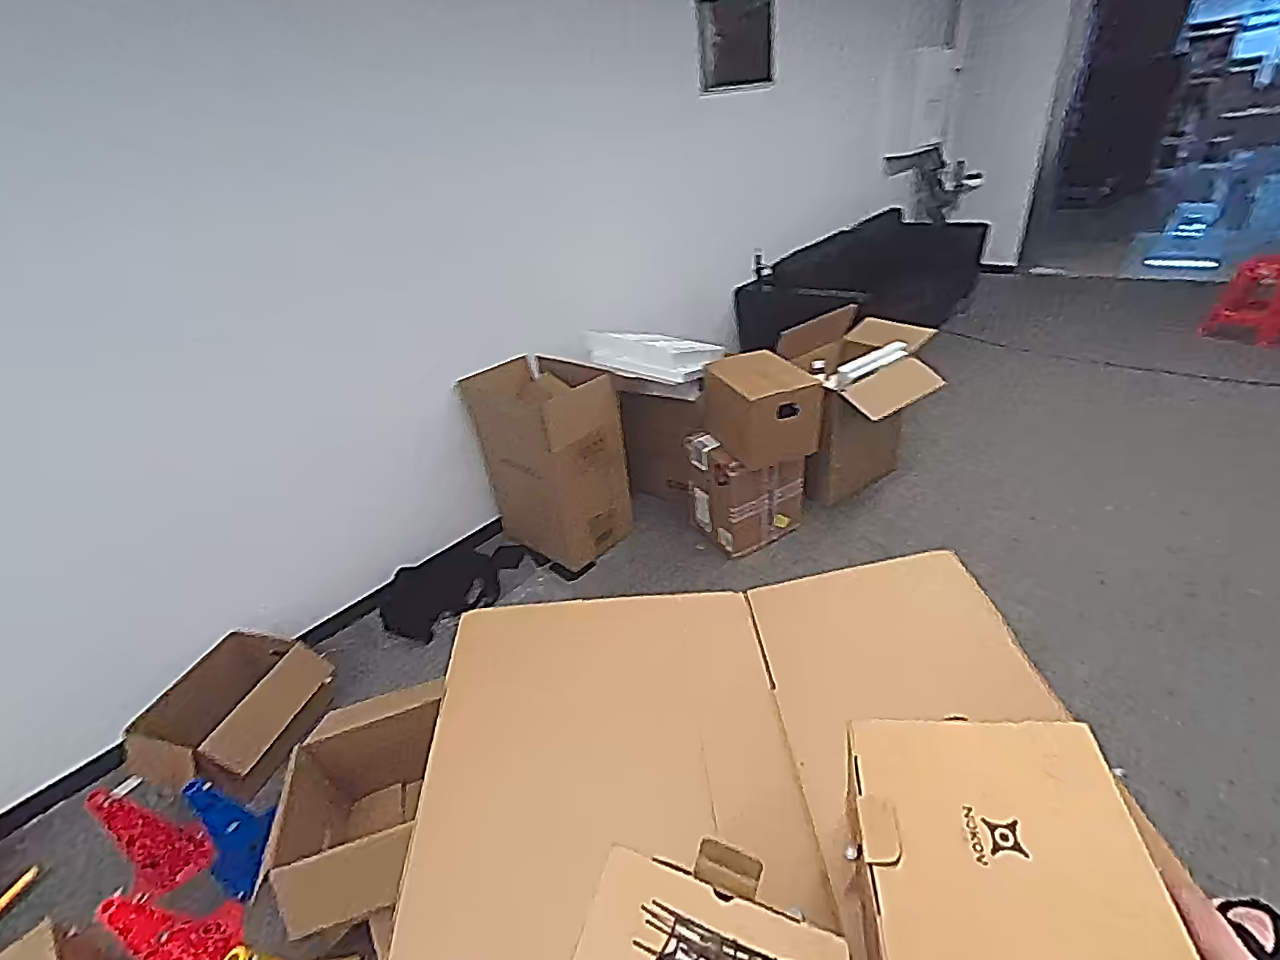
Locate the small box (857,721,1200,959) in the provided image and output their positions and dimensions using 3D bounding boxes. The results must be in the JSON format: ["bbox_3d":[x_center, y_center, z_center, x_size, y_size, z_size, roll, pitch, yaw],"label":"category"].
[{"bbox_3d":[0.278,0.315,0.435,0.179,0.176,0.168,-6,40,16],"label":"small box"}]
